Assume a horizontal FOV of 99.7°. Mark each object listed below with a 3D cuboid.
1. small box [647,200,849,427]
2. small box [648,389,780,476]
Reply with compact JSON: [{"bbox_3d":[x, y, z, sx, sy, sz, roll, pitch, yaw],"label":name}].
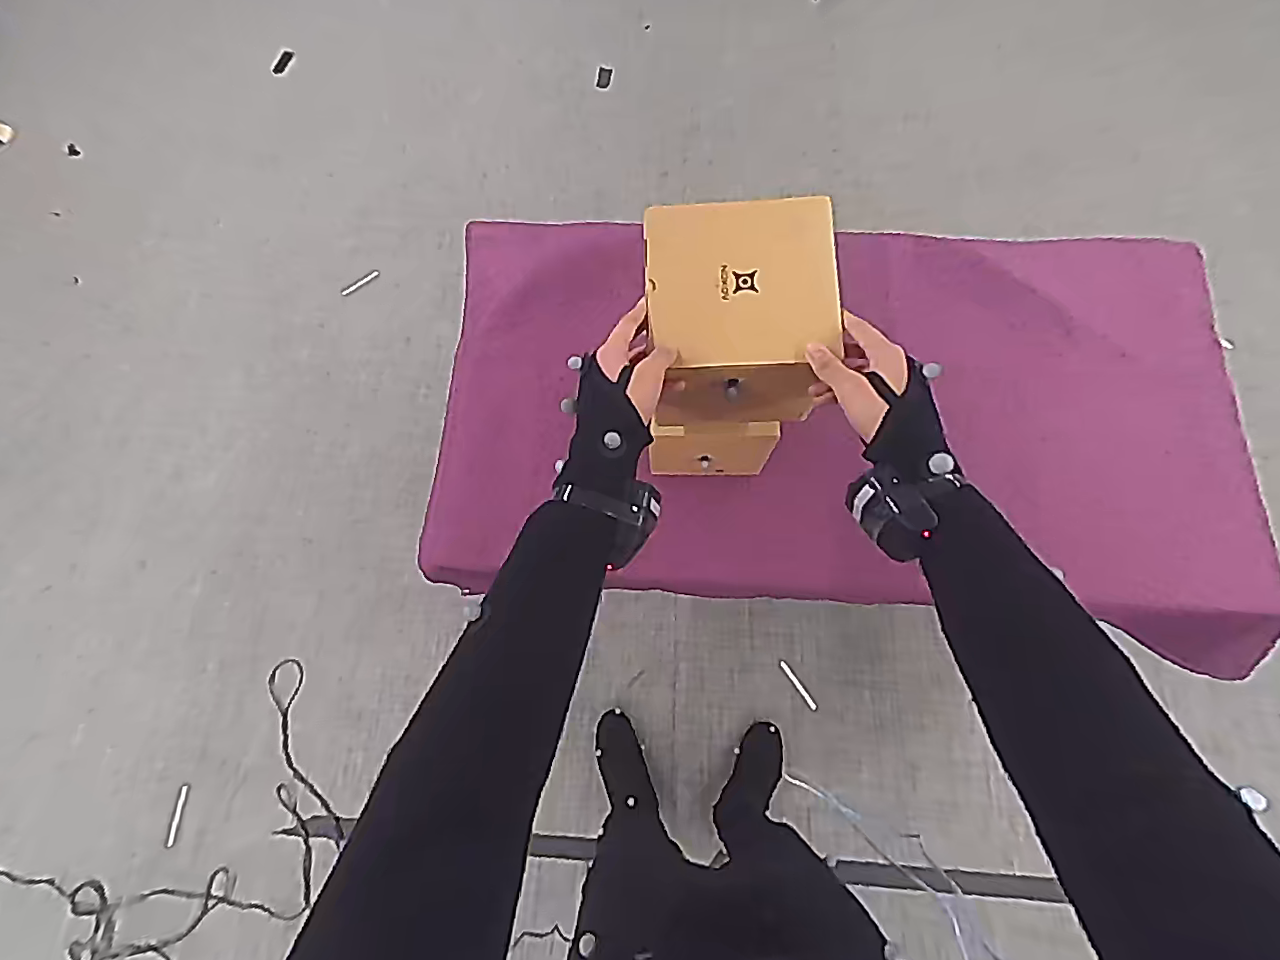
[{"bbox_3d":[0.100,-0.157,0.561,0.179,0.176,0.168,-2,78,6],"label":"small box"},{"bbox_3d":[0.099,-0.109,0.767,0.168,0.176,0.179,1,73,2],"label":"small box"}]
